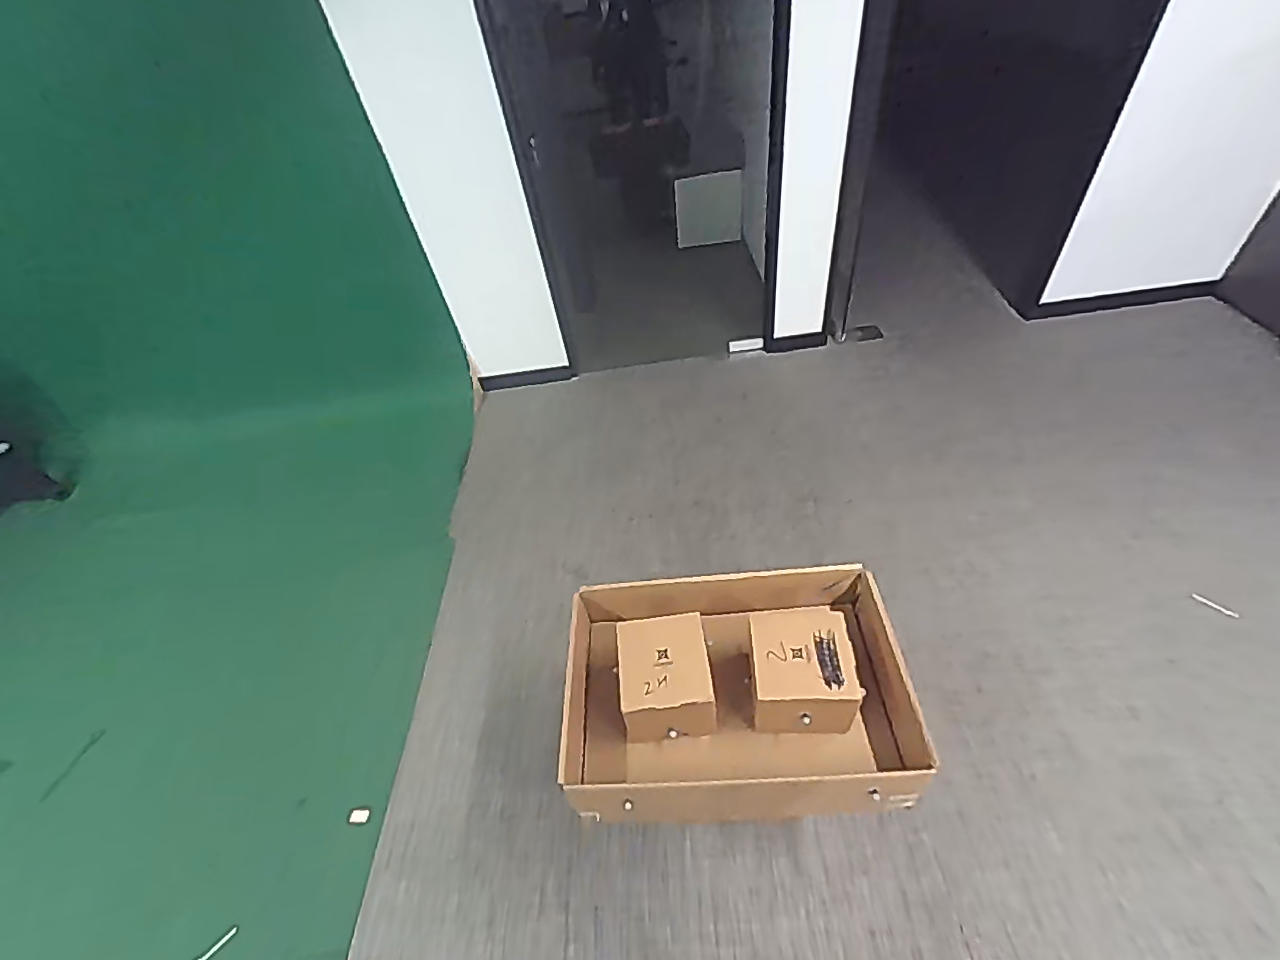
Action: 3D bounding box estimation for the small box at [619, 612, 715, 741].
[{"bbox_3d":[0.052,0.382,1.048,0.168,0.176,0.179,-8,46,3],"label":"small box"}]
